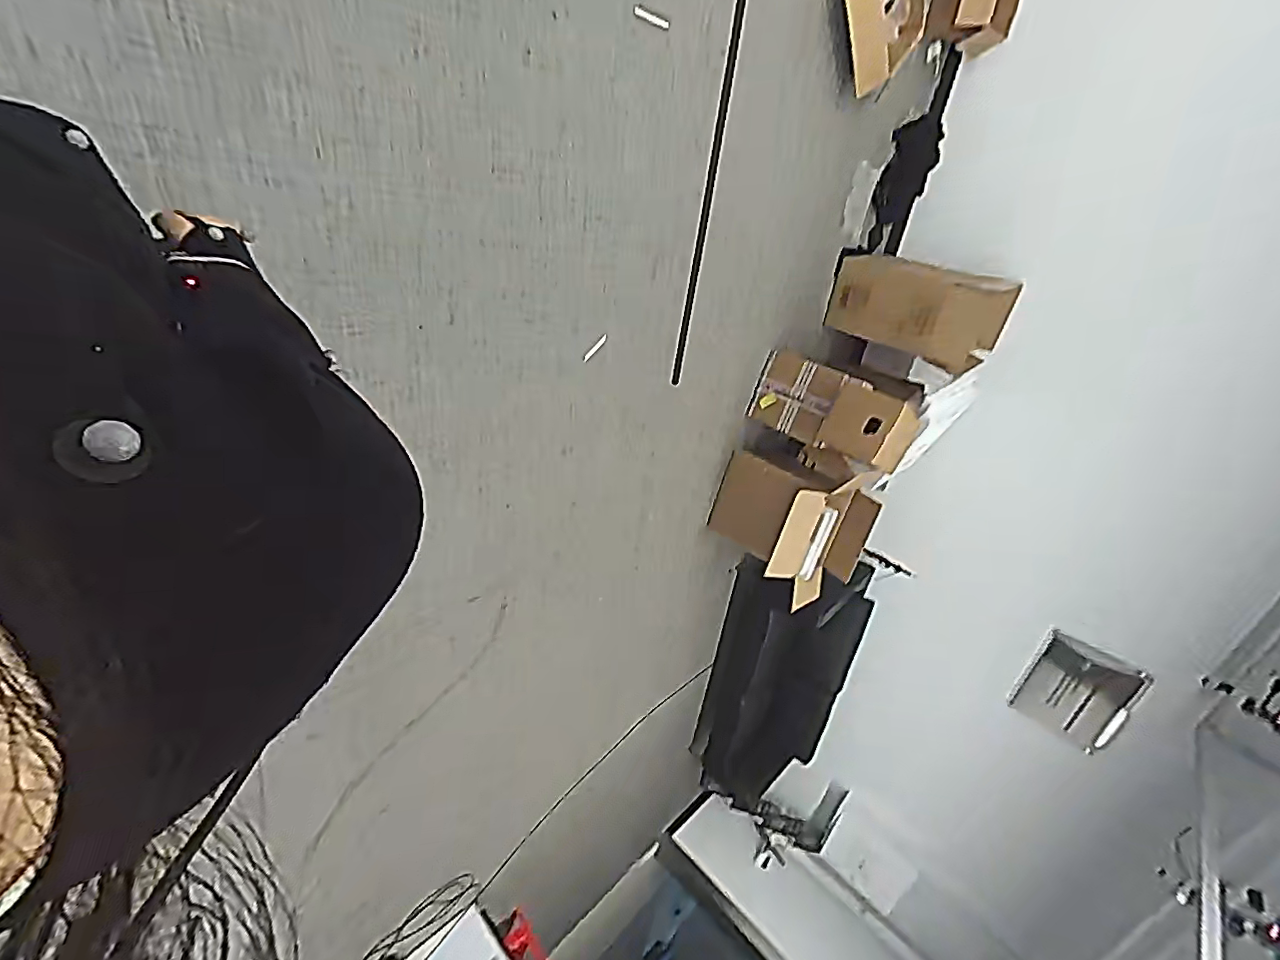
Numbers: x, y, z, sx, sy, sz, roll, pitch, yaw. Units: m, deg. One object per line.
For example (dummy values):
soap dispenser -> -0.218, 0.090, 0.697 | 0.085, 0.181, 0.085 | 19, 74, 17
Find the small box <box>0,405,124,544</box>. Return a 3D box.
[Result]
small box -> -1.112, -0.017, 1.006 | 0.168, 0.176, 0.179 | -27, 134, -40
